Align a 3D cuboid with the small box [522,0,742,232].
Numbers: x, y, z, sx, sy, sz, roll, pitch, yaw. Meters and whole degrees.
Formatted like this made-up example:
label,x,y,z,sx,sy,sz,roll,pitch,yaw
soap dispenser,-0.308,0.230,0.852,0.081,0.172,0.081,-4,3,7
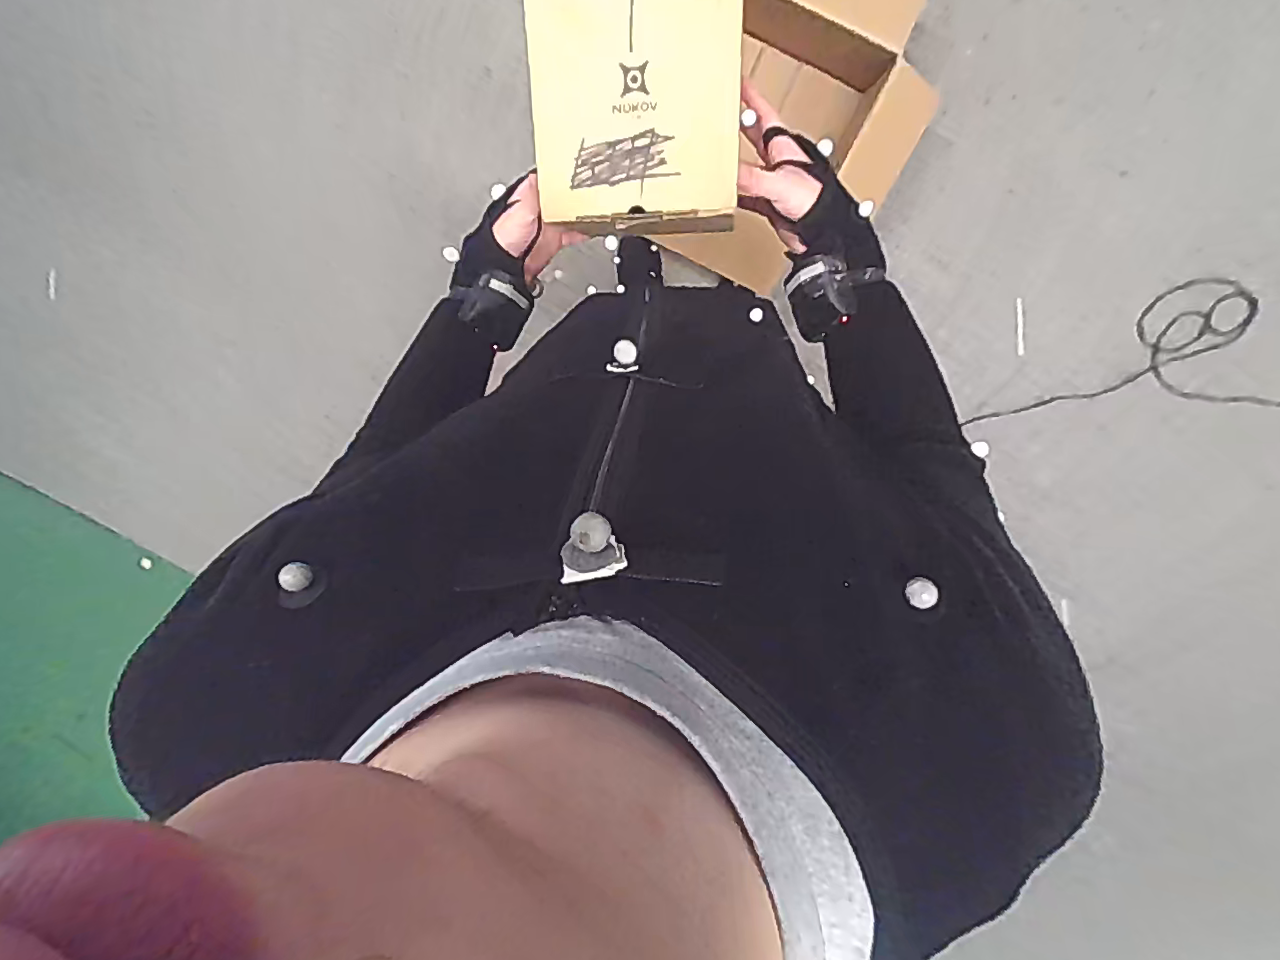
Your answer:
label,x,y,z,sx,sy,sz,roll,pitch,yaw
small box,0.006,-0.326,0.490,0.168,0.176,0.179,1,110,8
